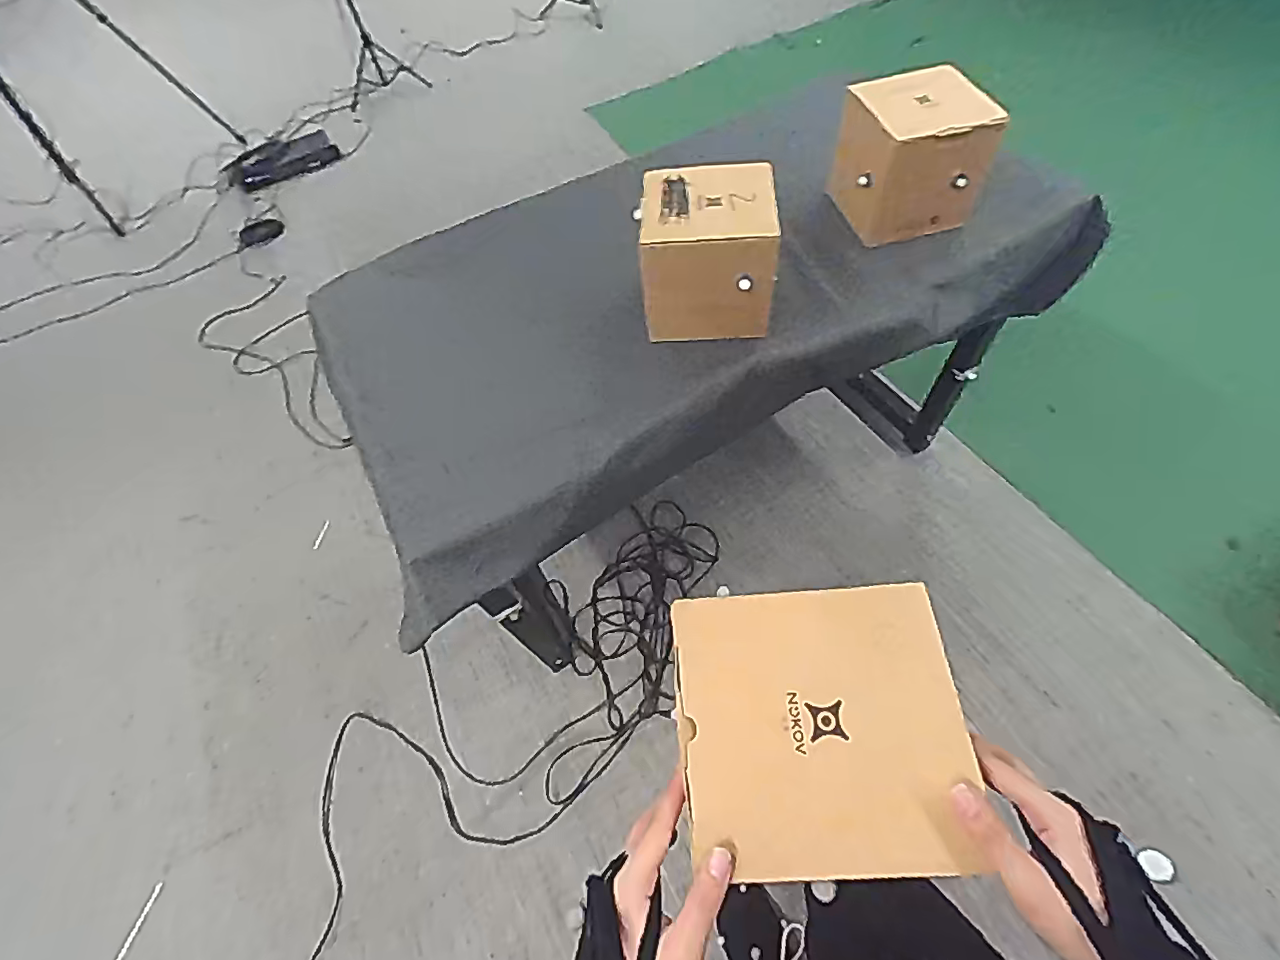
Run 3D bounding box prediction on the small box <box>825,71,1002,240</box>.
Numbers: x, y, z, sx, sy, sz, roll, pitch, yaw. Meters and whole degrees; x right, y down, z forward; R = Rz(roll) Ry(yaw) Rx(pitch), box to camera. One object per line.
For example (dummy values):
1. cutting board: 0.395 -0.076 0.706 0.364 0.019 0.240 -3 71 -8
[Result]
1. small box: 0.414 -0.502 0.855 0.168 0.176 0.179 -13 56 -2
